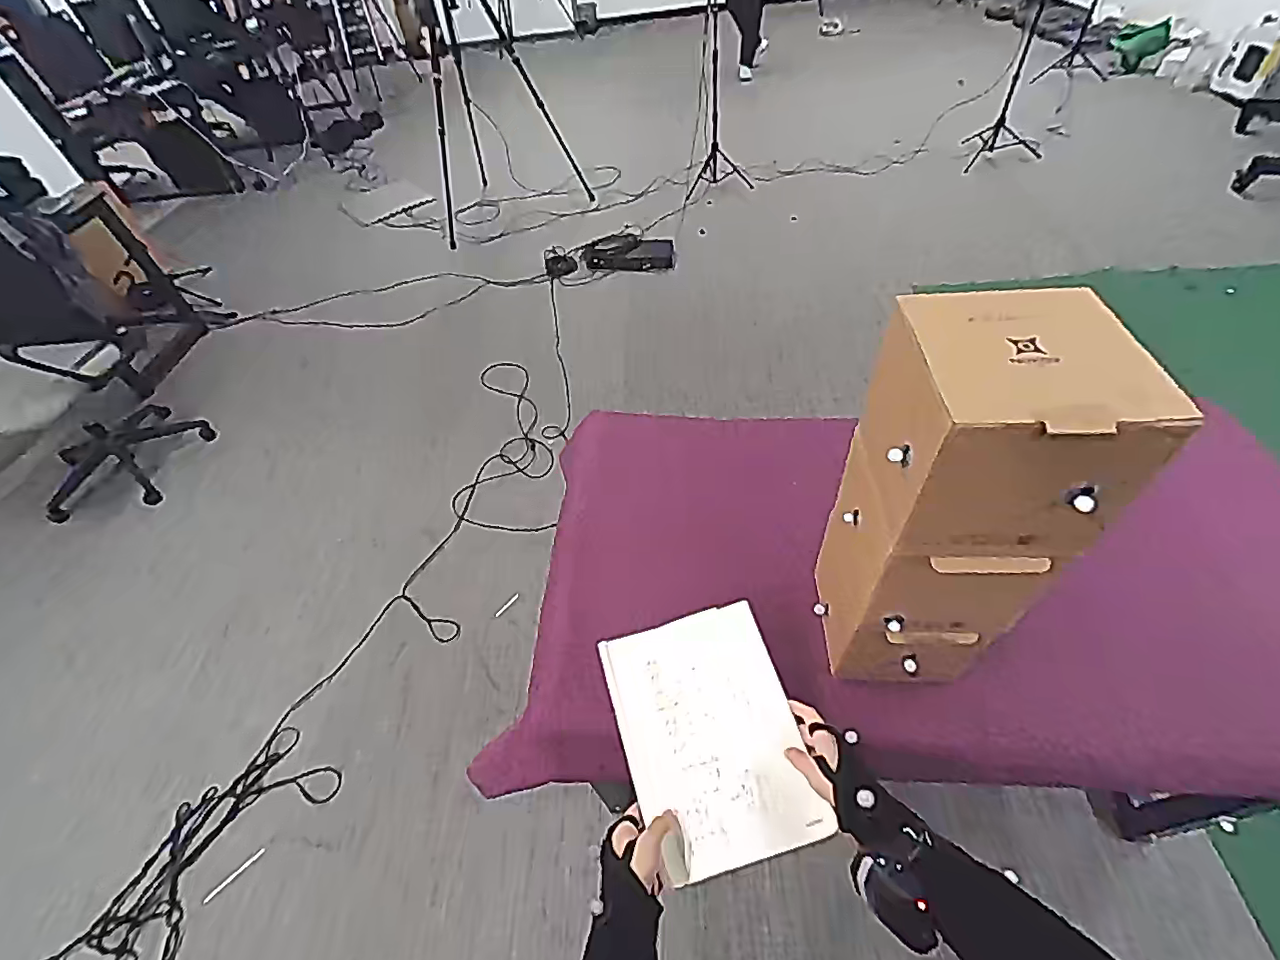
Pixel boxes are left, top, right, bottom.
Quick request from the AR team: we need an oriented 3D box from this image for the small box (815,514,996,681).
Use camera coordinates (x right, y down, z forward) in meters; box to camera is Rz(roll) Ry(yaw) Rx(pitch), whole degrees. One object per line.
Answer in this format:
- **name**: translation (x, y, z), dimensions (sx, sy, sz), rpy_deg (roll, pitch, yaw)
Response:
- **small box**: translation (0.346, 0.164, 0.745), dimensions (0.168, 0.176, 0.179), rpy_deg (0, 49, 6)

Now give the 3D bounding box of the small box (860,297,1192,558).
- **small box**: translation (0.314, -0.044, 0.493), dimensions (0.168, 0.176, 0.179), rpy_deg (0, 48, 7)

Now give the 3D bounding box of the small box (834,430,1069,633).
- **small box**: translation (0.329, 0.060, 0.618), dimensions (0.168, 0.176, 0.179), rpy_deg (-1, 48, 7)
